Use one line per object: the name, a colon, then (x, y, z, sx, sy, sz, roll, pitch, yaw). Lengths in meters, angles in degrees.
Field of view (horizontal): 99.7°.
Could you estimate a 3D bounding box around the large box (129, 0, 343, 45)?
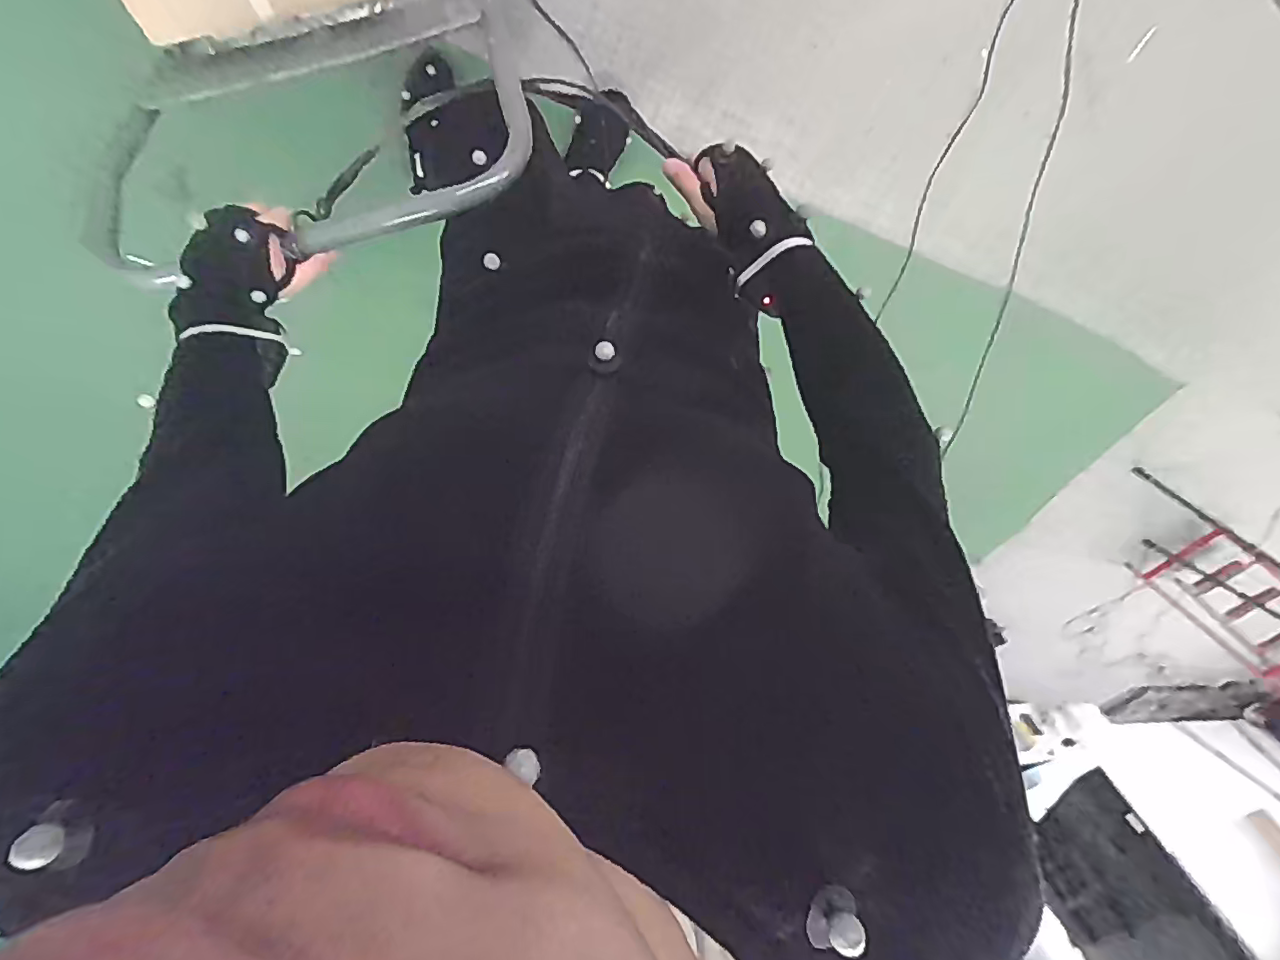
large box: (-0.540, -0.836, 0.640, 0.320, 0.320, 0.408, -15, 144, -1)
